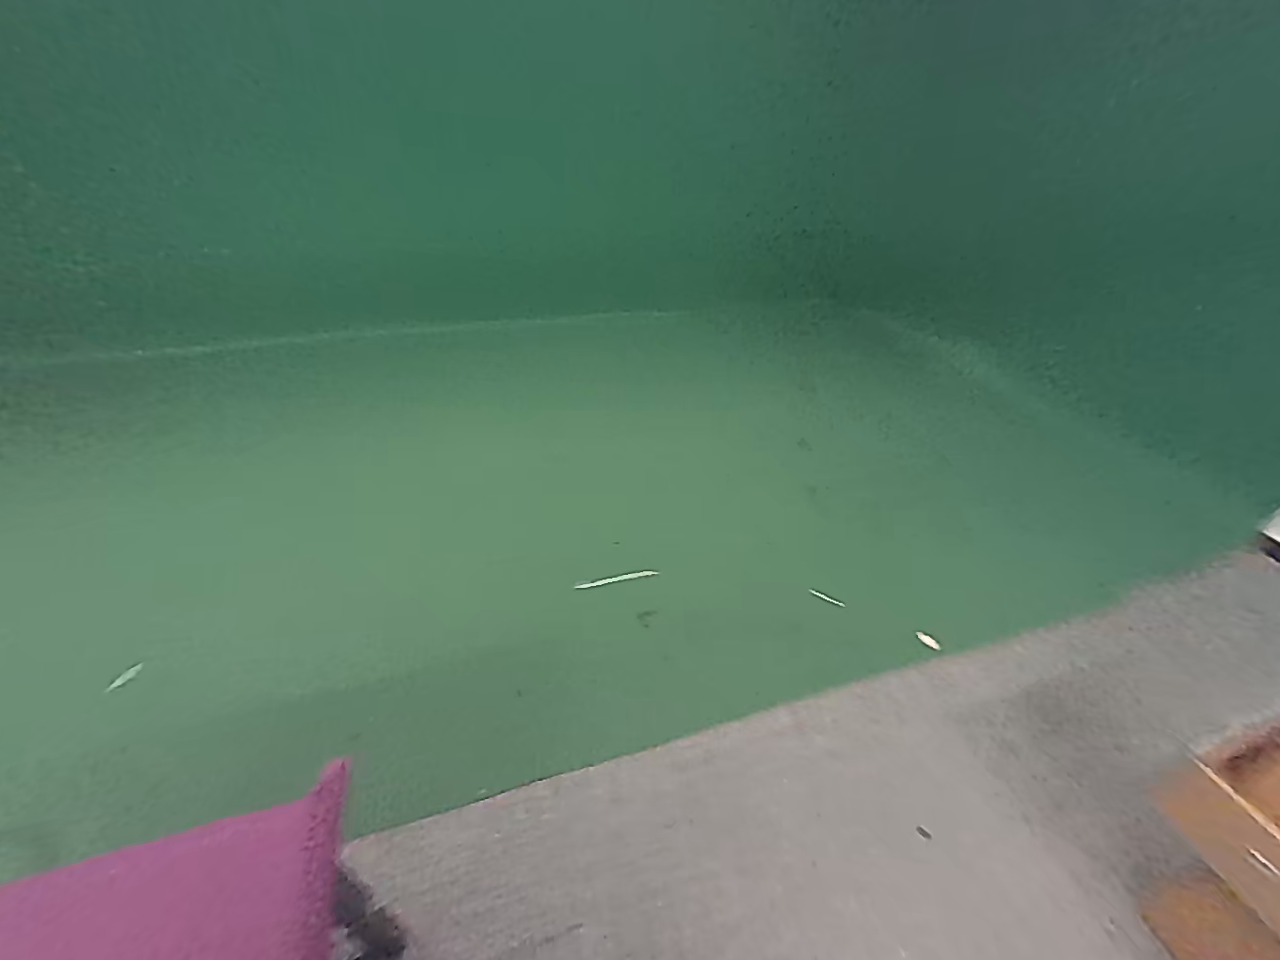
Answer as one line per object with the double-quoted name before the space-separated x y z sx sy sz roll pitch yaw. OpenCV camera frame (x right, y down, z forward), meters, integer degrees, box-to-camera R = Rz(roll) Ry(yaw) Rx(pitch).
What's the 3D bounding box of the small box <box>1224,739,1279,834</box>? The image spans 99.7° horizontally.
"small box" 1.439 0.653 1.156 0.179 0.176 0.168 -8 41 -15
